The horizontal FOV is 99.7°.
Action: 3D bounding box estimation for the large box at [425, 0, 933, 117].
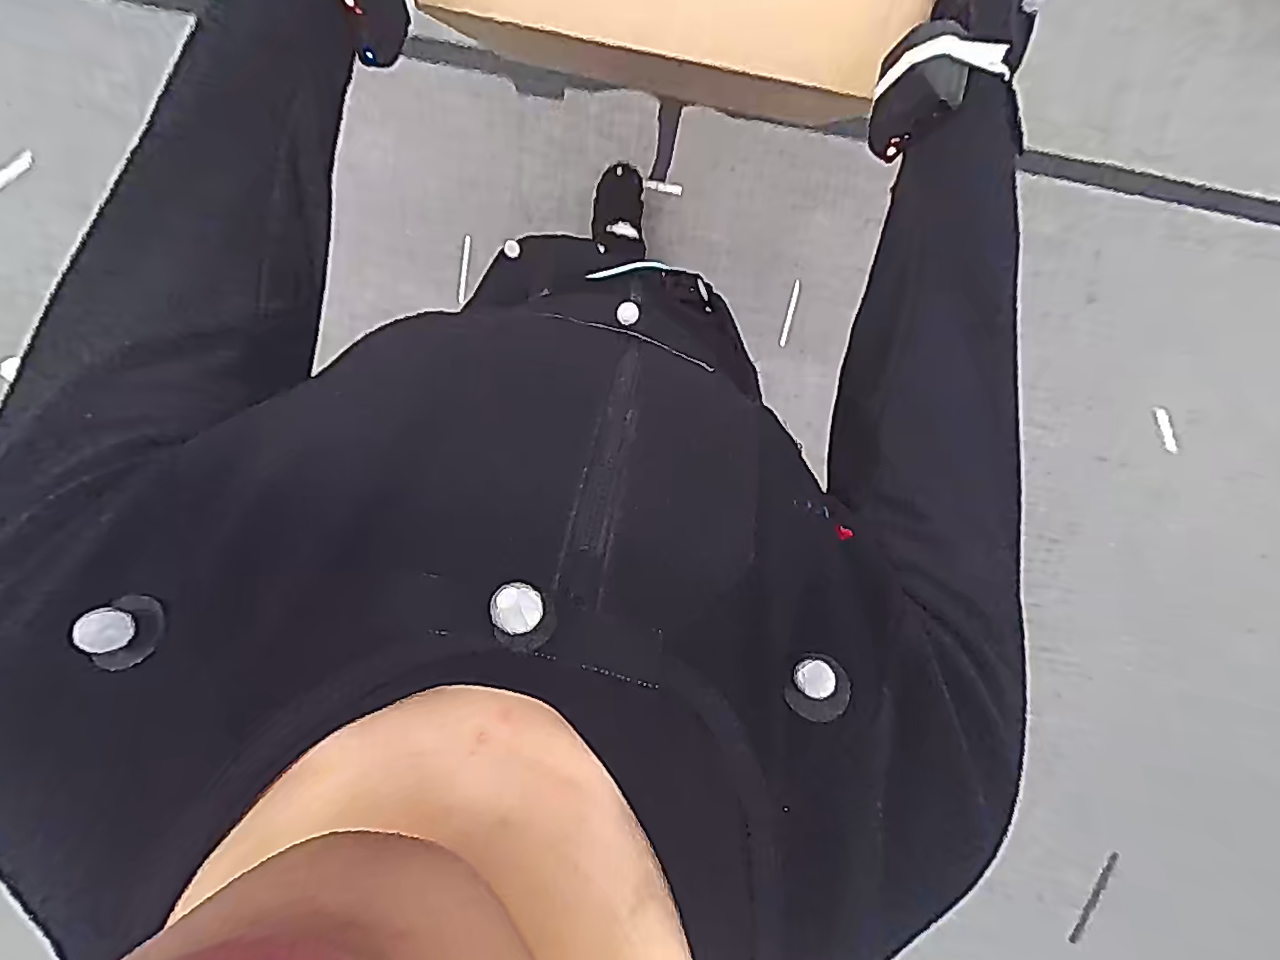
[{"bbox_3d":[0.046,-0.548,0.480,0.408,0.320,0.320,9,121,-3],"label":"large box"}]
